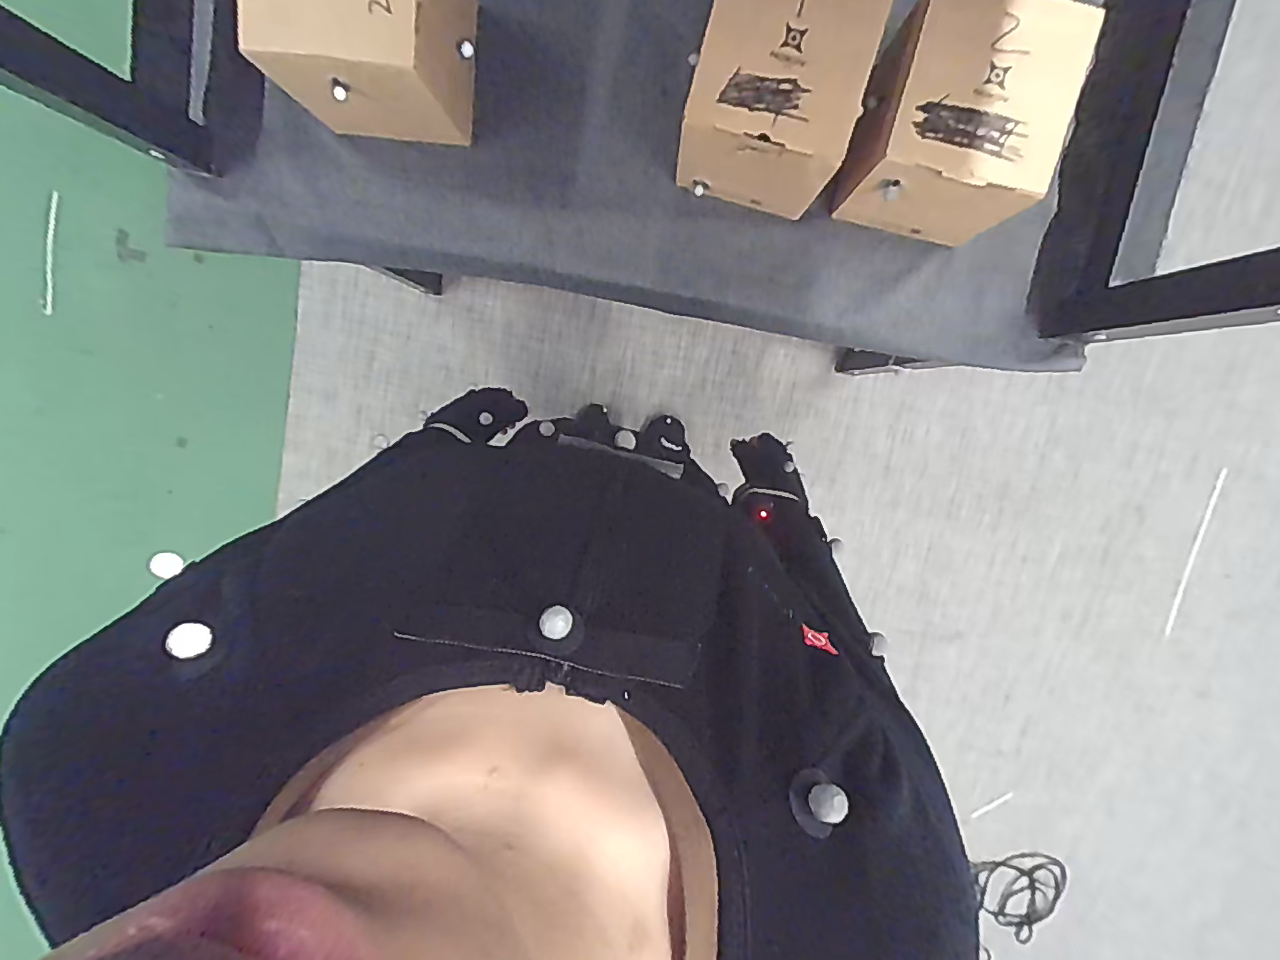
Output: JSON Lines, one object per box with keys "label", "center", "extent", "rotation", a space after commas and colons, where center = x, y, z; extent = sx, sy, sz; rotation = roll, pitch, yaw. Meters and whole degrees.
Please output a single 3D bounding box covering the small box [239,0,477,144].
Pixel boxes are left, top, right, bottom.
{"label": "small box", "center": [-0.296, -0.500, 0.597], "extent": [0.179, 0.176, 0.168], "rotation": [6, 99, -1]}
